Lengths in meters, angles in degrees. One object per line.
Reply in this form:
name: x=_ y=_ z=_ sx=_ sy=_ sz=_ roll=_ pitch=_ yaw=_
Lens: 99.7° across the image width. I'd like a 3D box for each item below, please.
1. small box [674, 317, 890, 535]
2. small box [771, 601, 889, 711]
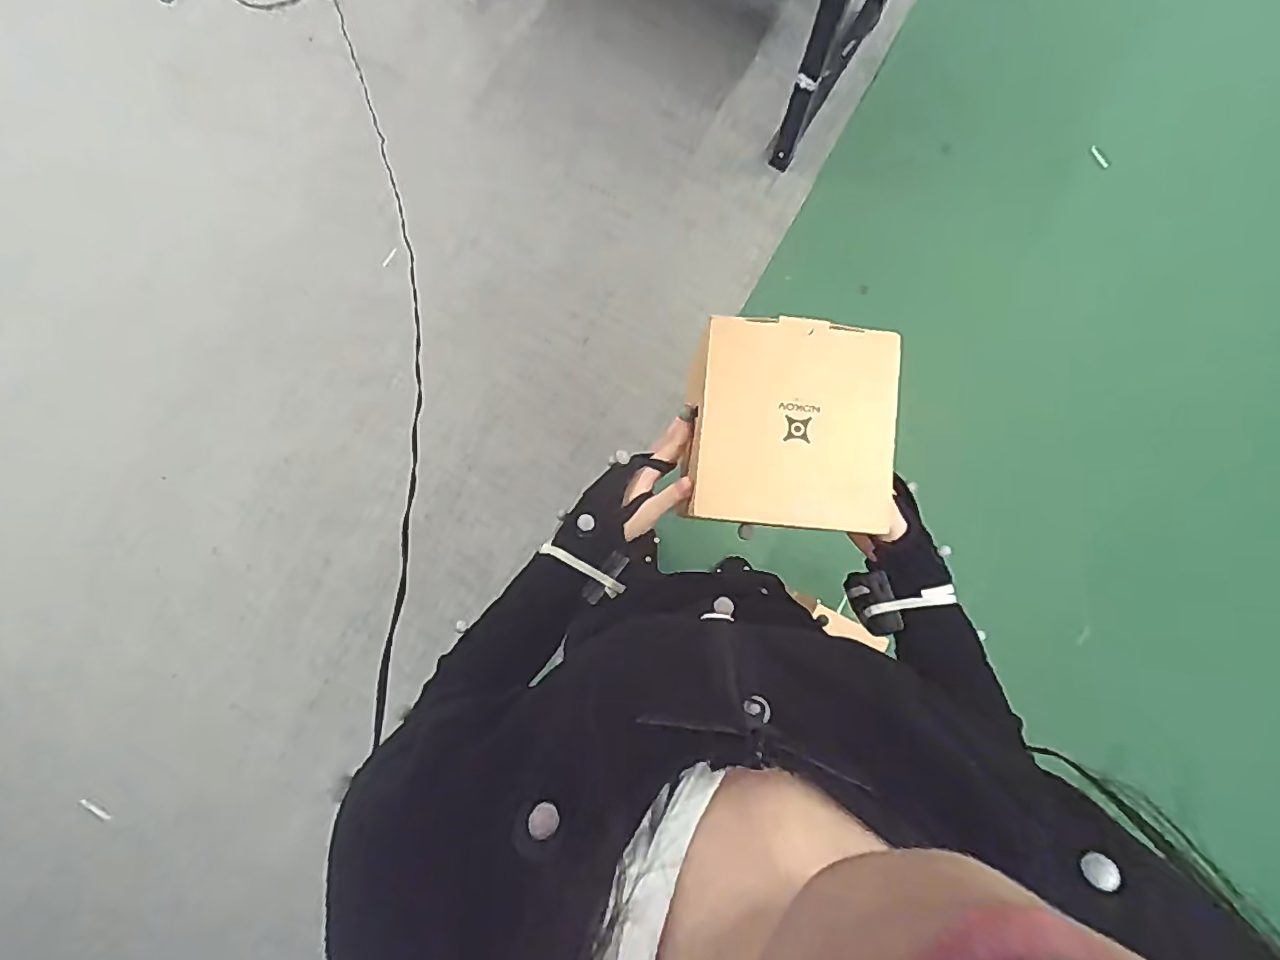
small box: x=0.125 y=-0.041 z=0.537 sx=0.168 sy=0.176 sz=0.179 roll=5 pitch=84 yaw=-1
small box: x=0.427 y=0.392 z=1.246 sx=0.179 sy=0.176 sz=0.168 roll=27 pitch=85 yaw=3
